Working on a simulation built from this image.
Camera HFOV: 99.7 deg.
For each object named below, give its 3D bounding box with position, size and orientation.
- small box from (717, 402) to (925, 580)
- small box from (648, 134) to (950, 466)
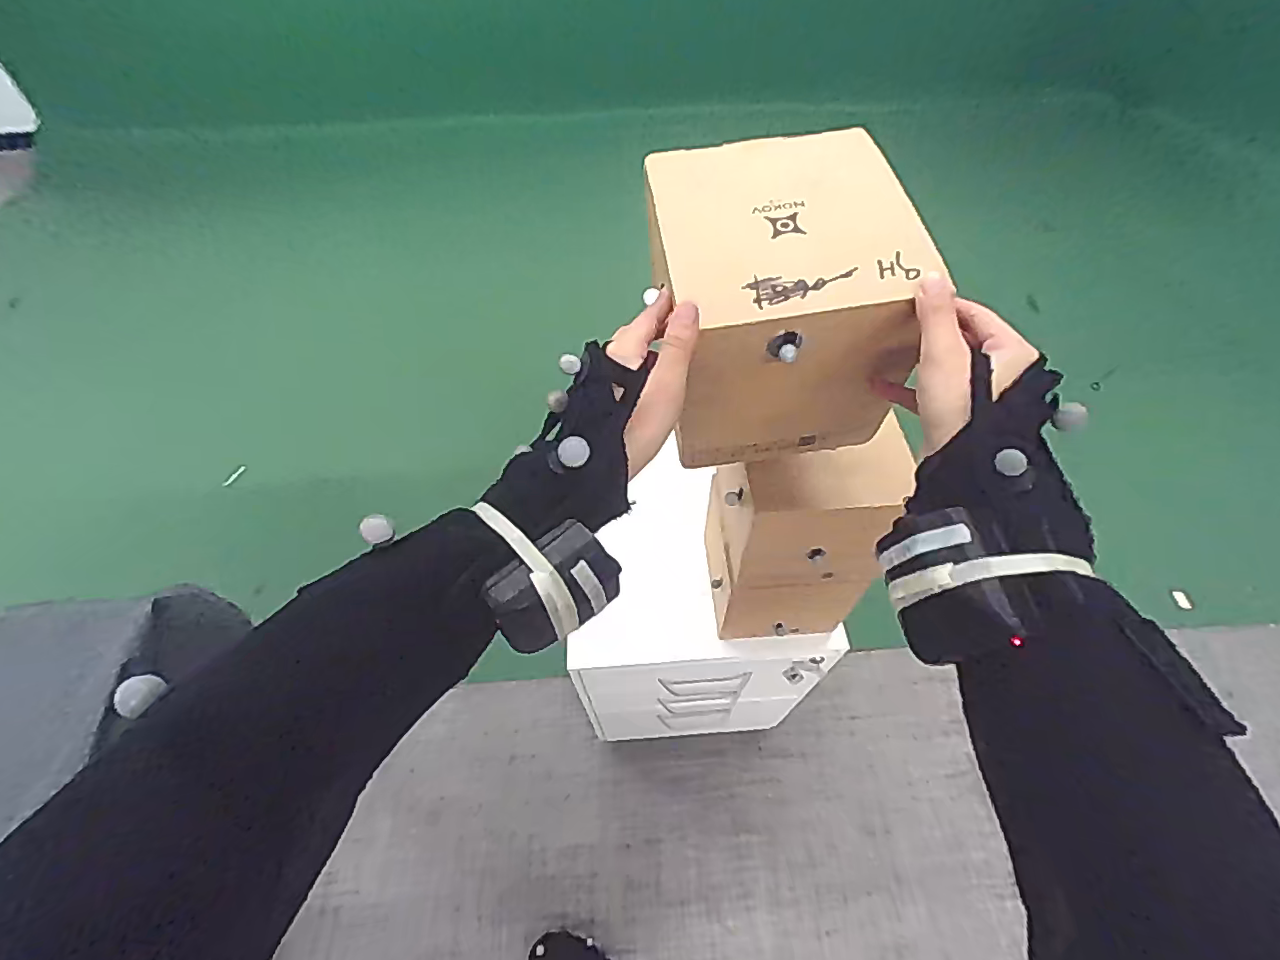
[{"bbox_3d":[0.184,0.005,0.613,0.168,0.176,0.179,-3,55,-1],"label":"small box"},{"bbox_3d":[0.097,-0.133,0.427,0.168,0.176,0.179,-8,61,0],"label":"small box"}]
